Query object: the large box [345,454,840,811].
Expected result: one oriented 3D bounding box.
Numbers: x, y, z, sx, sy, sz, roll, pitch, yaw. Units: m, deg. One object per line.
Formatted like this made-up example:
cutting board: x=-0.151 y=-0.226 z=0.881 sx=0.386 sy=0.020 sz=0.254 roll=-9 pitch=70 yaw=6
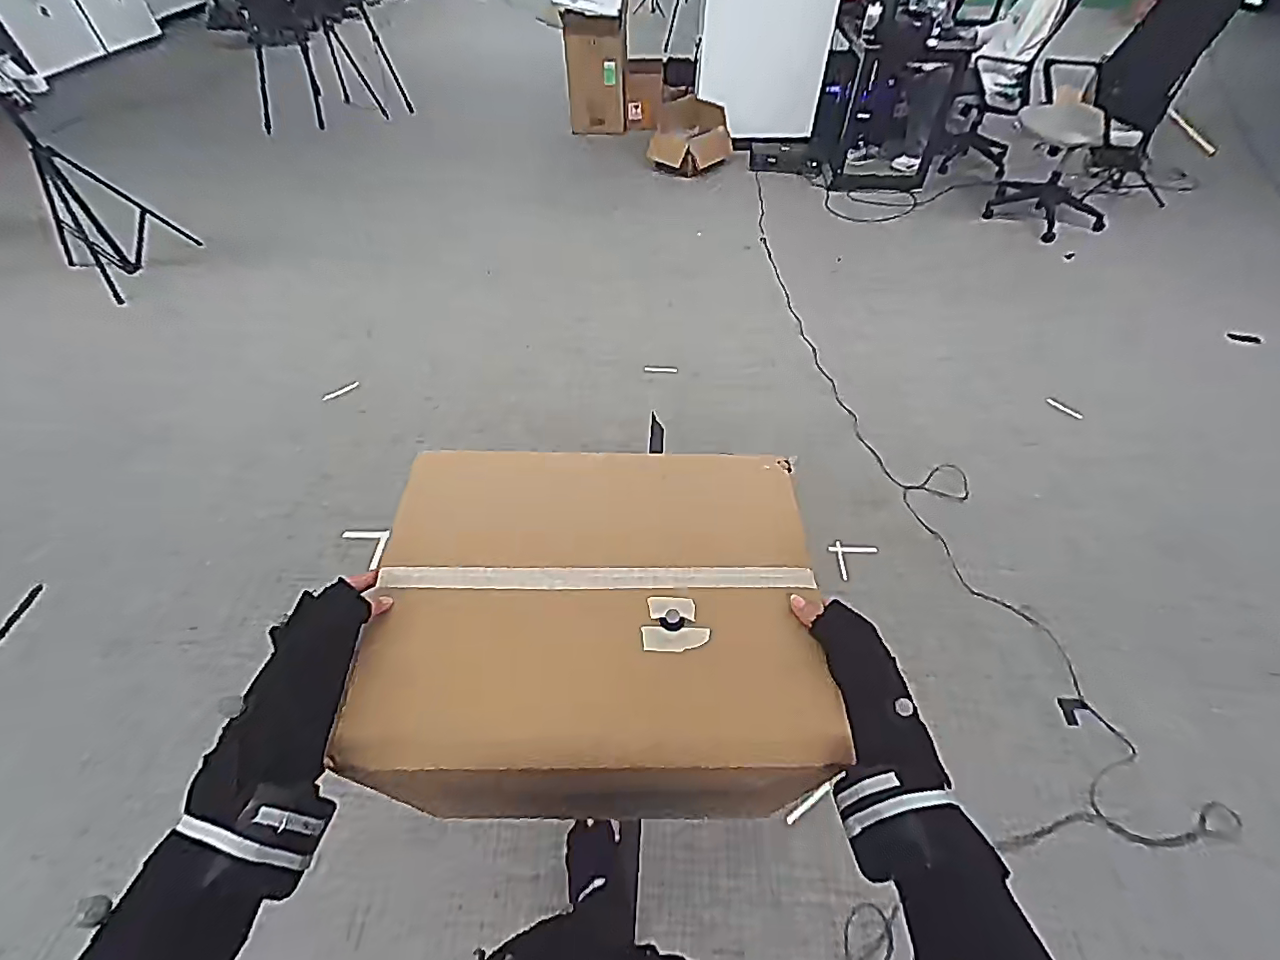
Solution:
large box: x=-0.043 y=0.185 z=0.636 sx=0.408 sy=0.320 sz=0.320 roll=1 pitch=52 yaw=-2
